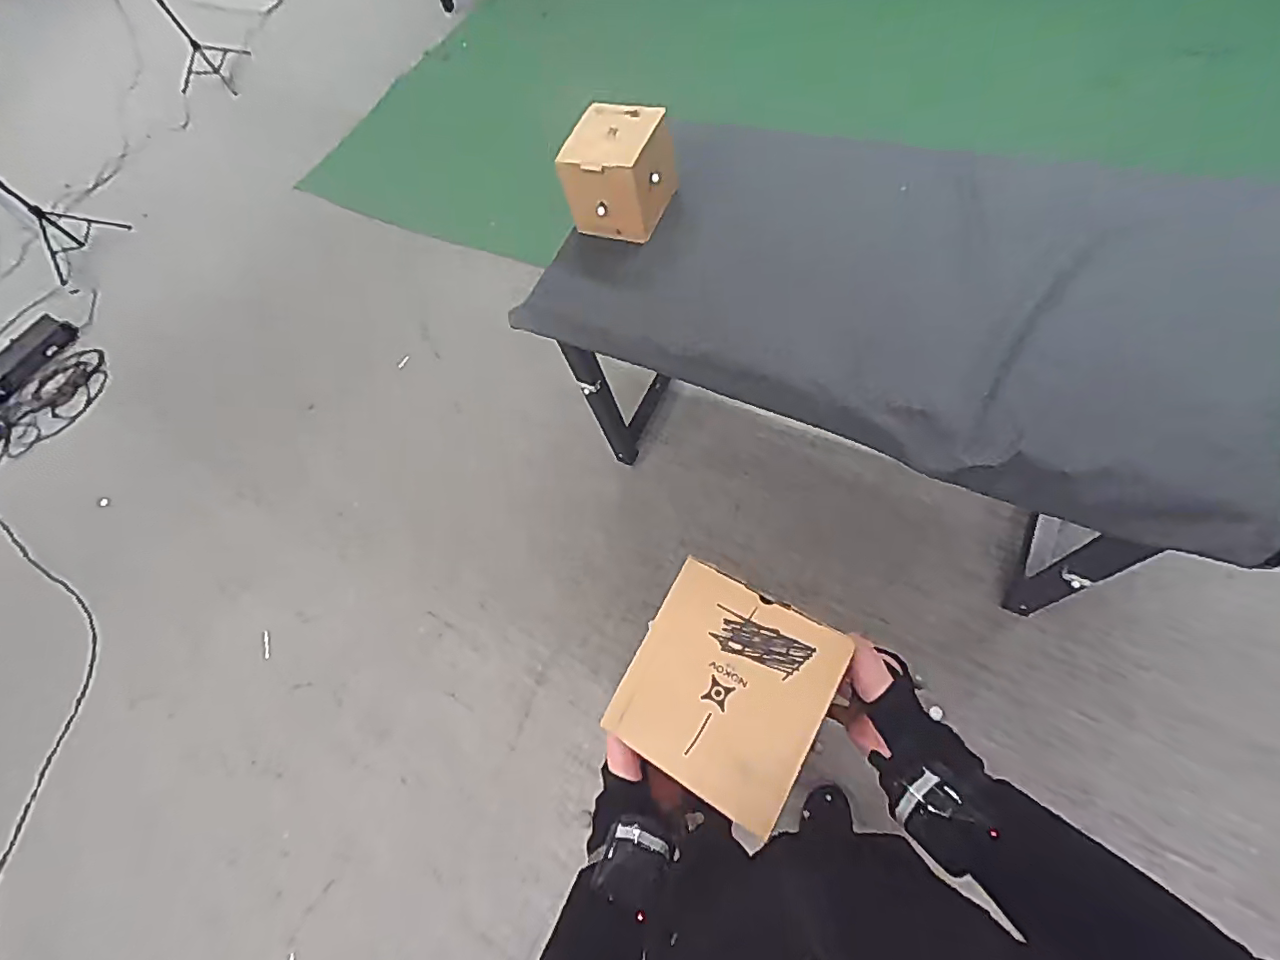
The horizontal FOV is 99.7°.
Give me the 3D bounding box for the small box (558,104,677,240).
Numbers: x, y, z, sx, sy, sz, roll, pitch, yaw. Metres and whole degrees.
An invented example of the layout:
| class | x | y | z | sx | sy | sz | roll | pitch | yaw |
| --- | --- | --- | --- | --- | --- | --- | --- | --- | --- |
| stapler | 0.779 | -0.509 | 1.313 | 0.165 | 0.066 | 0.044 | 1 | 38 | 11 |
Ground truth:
| class | x | y | z | sx | sy | sz | roll | pitch | yaw |
| --- | --- | --- | --- | --- | --- | --- | --- | --- | --- |
| small box | -0.035 | -0.619 | 1.095 | 0.168 | 0.176 | 0.179 | 18 | 71 | 19 |
